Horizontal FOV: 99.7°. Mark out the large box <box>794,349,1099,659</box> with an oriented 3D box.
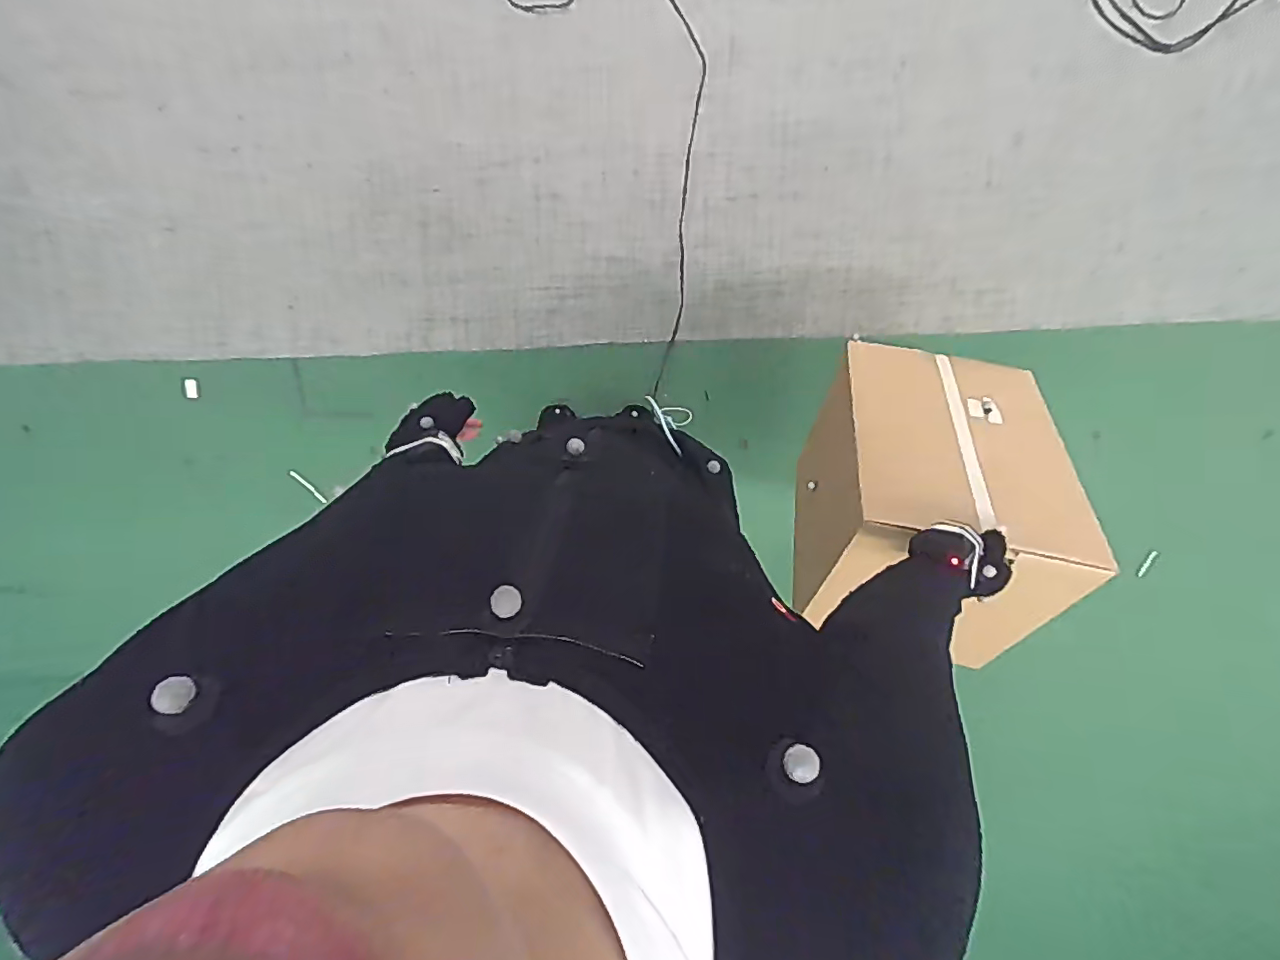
[{"bbox_3d":[0.459,0.037,0.933,0.320,0.408,0.320,12,138,4],"label":"large box"}]
